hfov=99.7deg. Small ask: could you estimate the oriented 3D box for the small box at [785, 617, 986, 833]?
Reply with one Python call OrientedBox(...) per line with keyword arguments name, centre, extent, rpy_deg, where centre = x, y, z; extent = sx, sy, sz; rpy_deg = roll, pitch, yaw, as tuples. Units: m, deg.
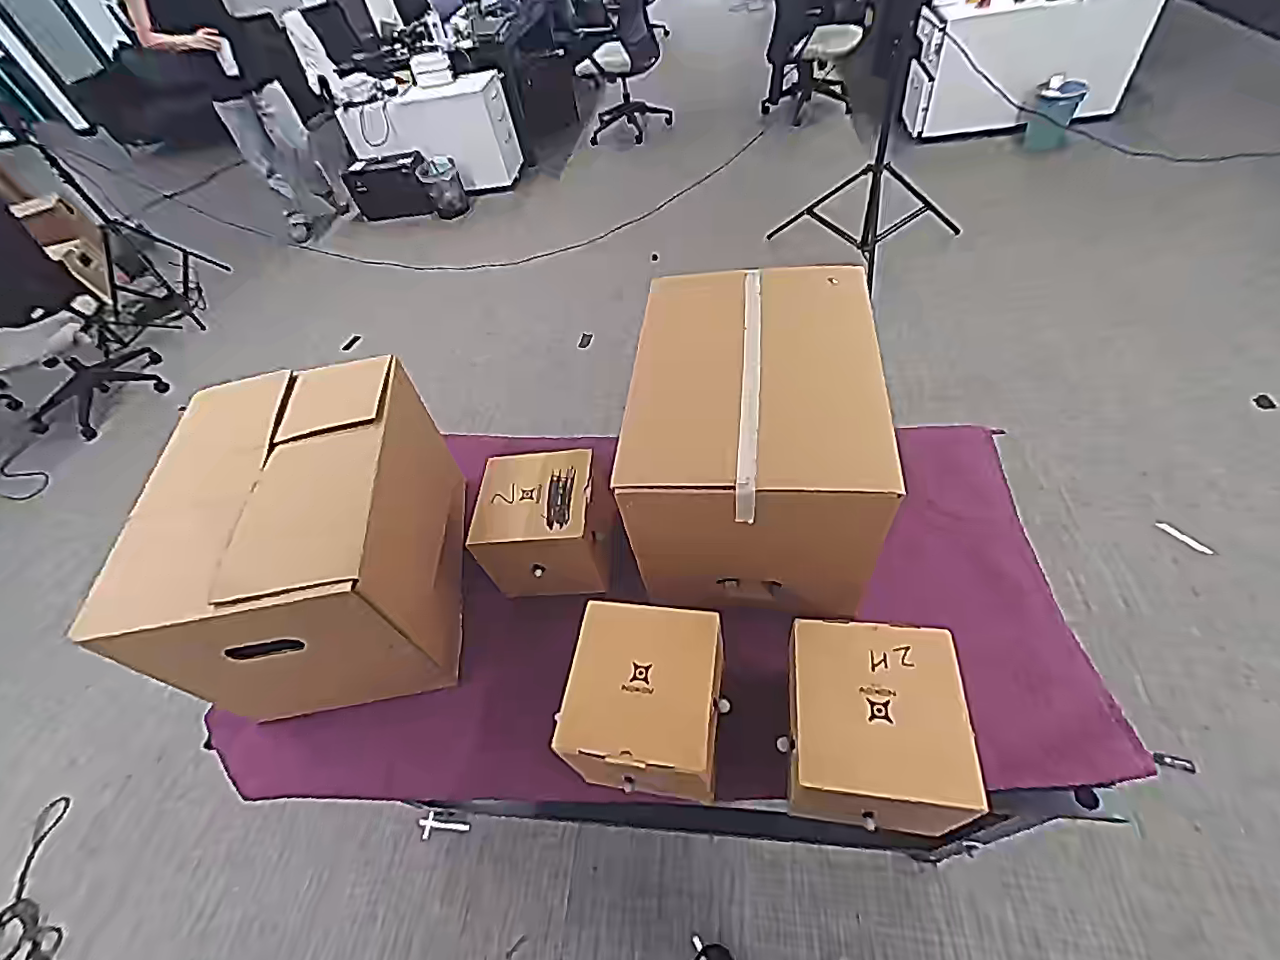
OrientedBox(name="small box", centre=(0.254, 0.276, 0.605), extent=(0.168, 0.176, 0.179), rpy_deg=(2, 50, 12))
